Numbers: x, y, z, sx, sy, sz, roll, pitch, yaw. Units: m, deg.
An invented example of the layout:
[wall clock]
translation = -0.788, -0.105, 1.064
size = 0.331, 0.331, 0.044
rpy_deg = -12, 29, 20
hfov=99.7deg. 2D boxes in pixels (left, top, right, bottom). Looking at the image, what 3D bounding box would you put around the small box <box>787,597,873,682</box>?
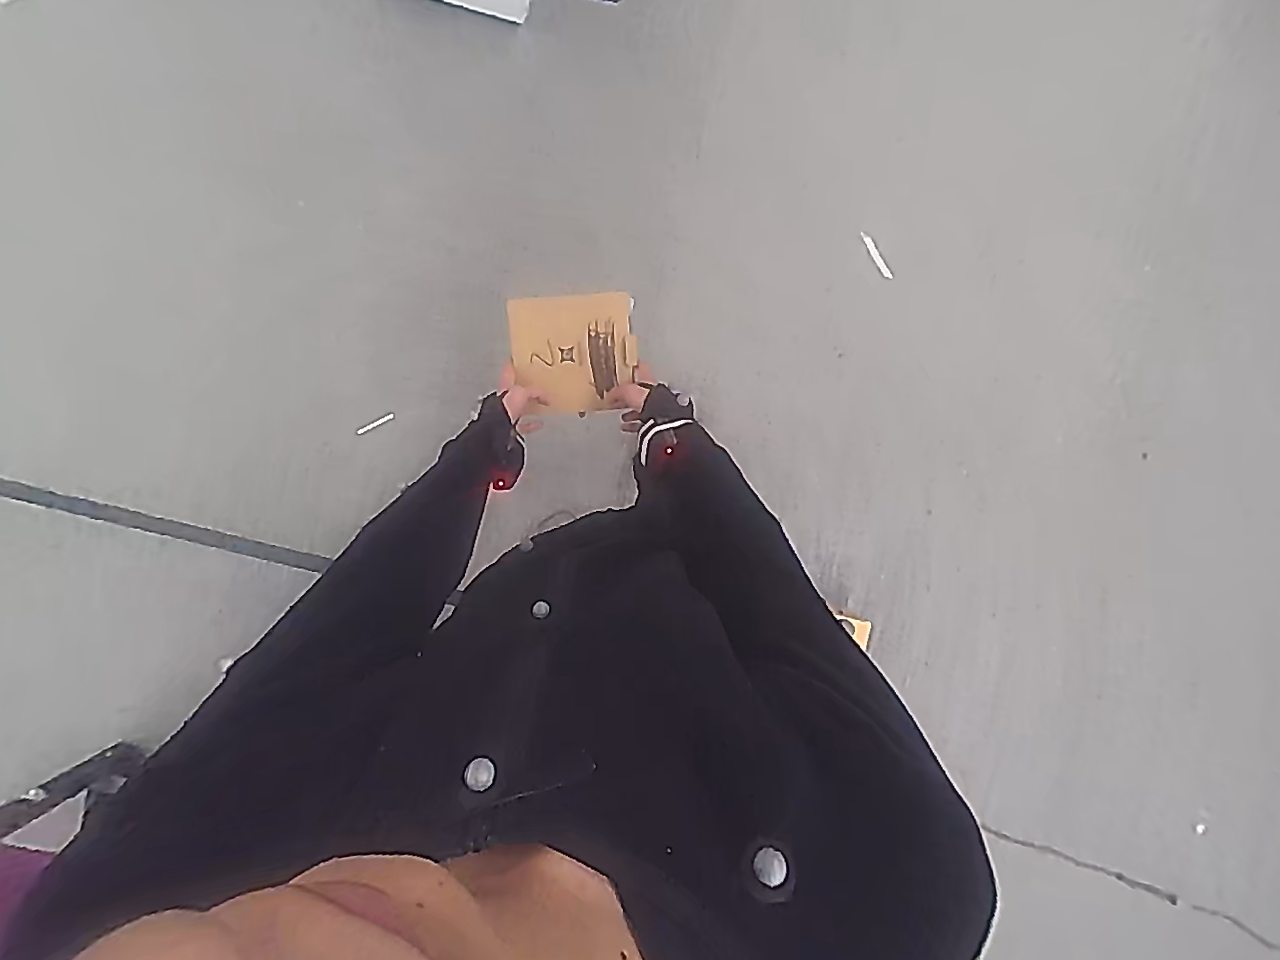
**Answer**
[small box]
translation = 0.543, 0.453, 1.566
size = 0.168, 0.176, 0.179
rpy_deg = 13, 92, -1
